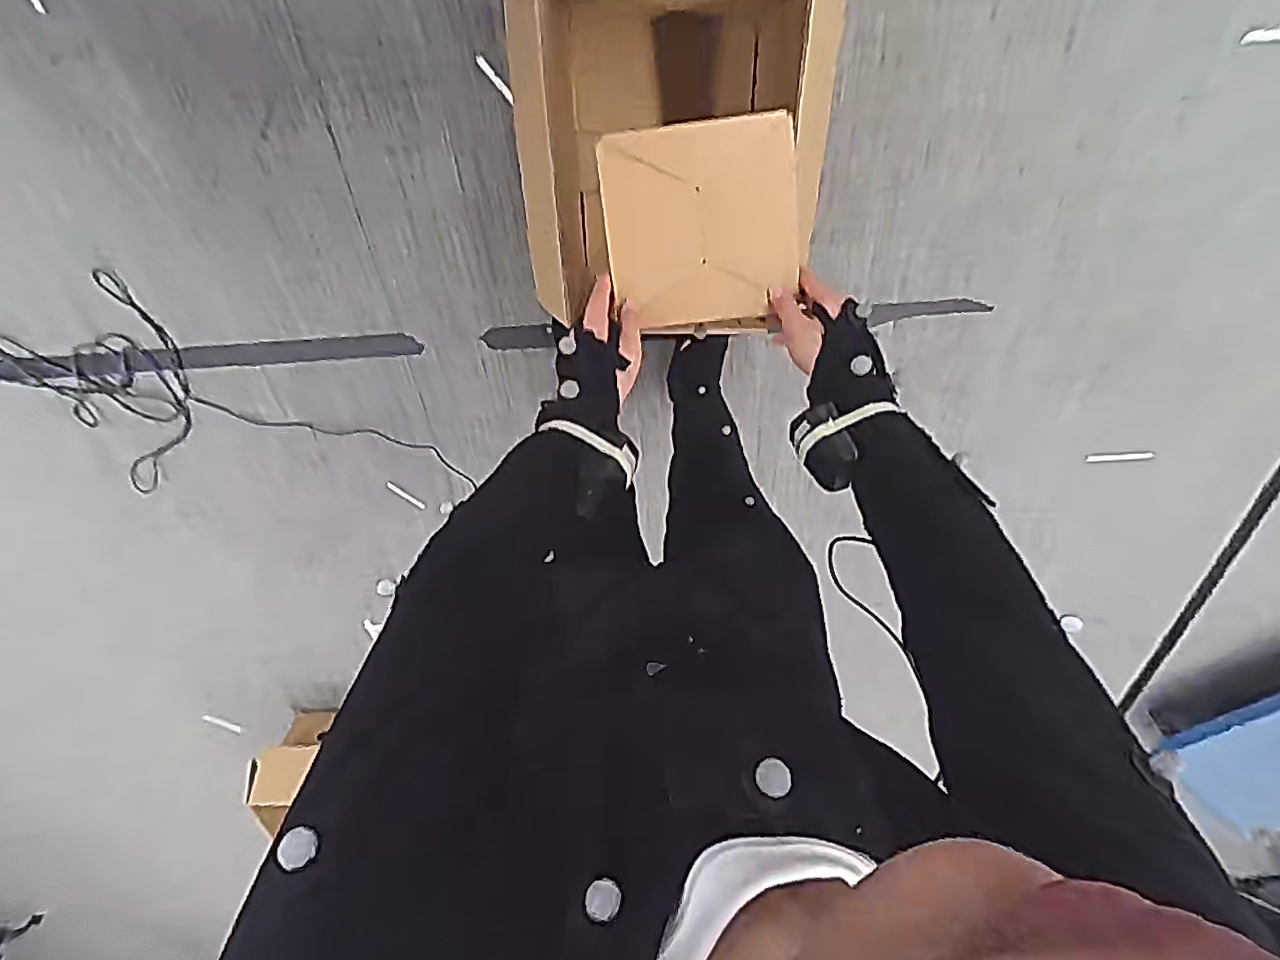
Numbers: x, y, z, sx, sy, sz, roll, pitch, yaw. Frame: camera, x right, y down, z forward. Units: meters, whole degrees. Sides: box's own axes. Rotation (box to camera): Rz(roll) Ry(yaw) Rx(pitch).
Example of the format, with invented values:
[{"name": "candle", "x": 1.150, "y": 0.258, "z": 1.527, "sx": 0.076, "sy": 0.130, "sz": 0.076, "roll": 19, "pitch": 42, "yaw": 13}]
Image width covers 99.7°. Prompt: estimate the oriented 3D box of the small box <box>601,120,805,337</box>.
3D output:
[{"name": "small box", "x": 0.056, "y": -0.247, "z": 0.565, "sx": 0.179, "sy": 0.176, "sz": 0.168, "roll": -7, "pitch": 104, "yaw": 1}]
